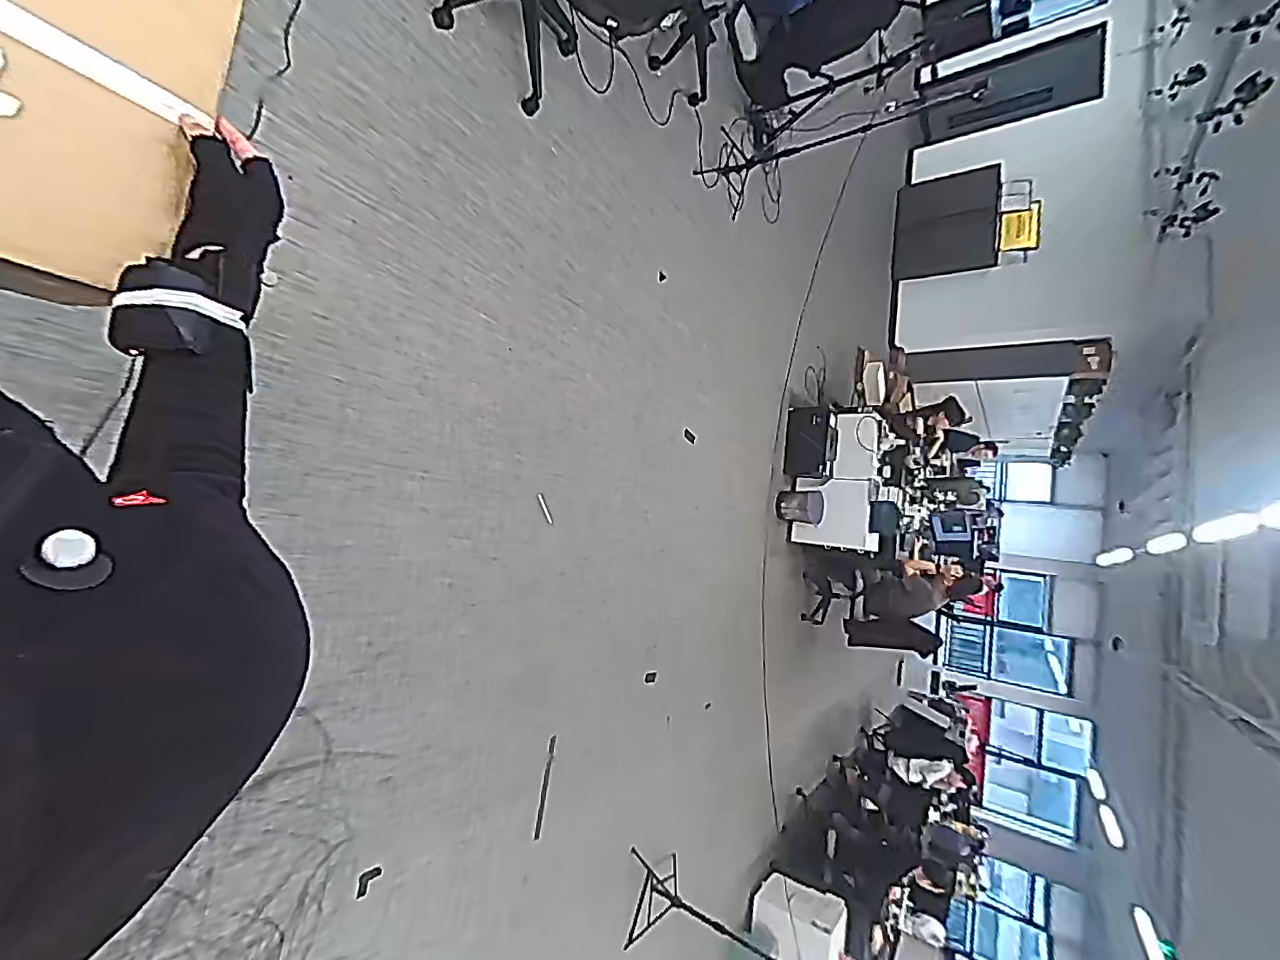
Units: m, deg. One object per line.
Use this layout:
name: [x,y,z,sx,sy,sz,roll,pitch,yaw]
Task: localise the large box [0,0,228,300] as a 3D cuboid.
large box: [-0.611,-0.350,0.378,0.408,0.320,0.320,13,91,-59]
